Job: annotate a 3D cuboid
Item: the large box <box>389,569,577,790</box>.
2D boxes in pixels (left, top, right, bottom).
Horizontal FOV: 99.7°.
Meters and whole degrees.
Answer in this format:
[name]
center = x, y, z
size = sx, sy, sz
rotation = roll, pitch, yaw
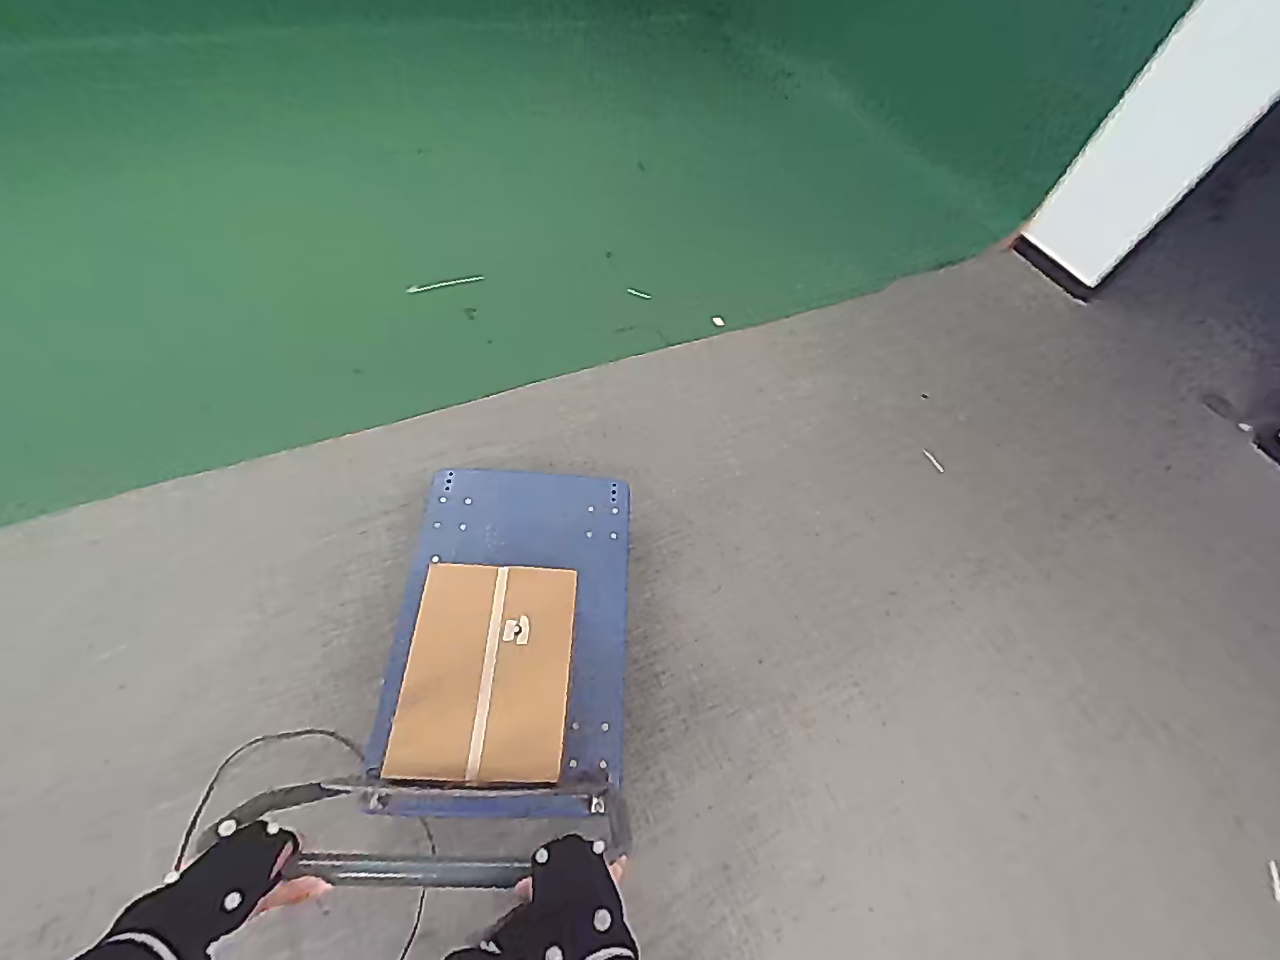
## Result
[large box]
center = -0.305, 0.442, 1.182
size = 0.320, 0.320, 0.408
rotation = 4, 59, -5
